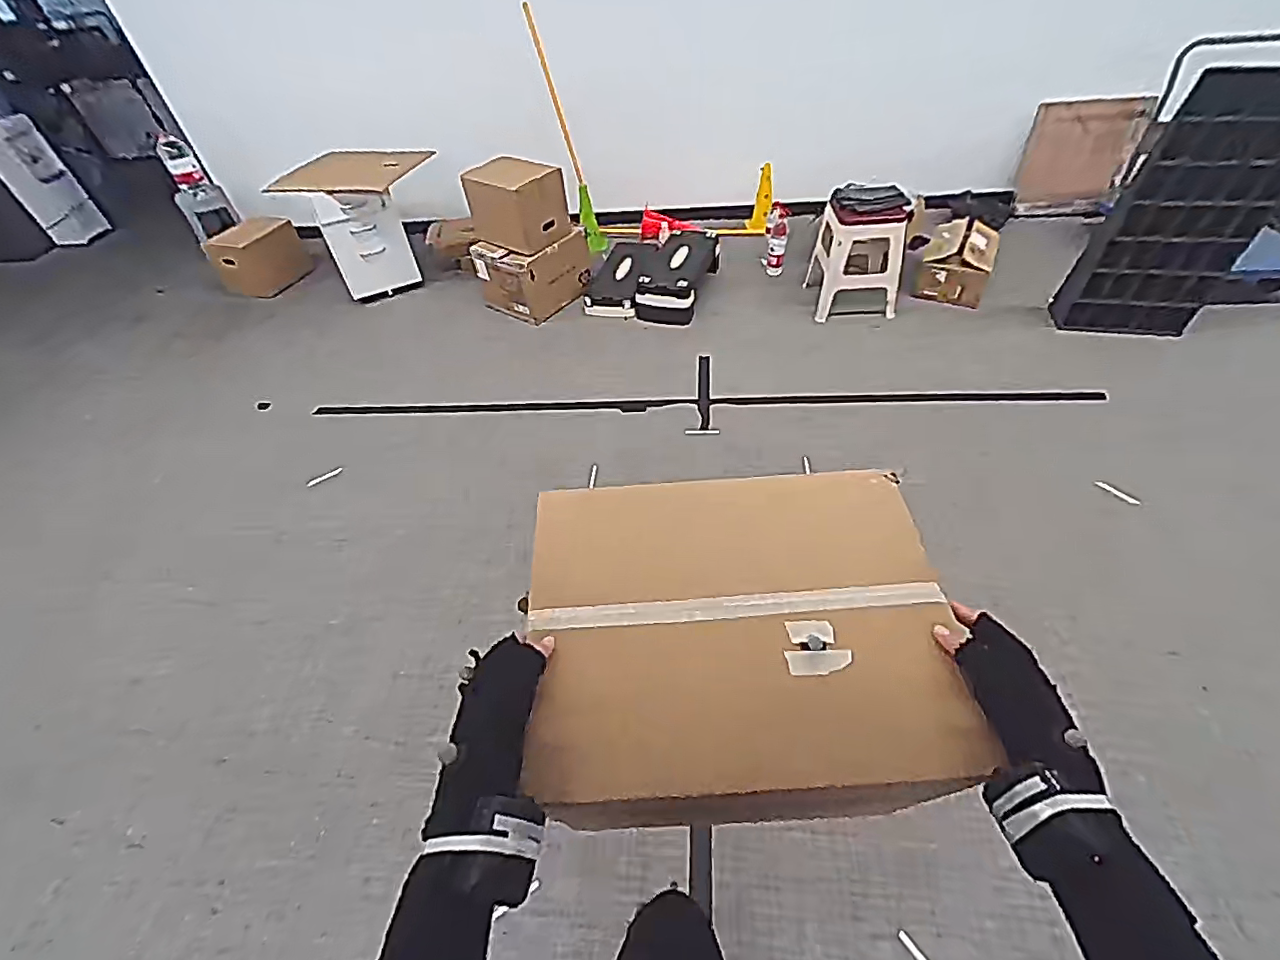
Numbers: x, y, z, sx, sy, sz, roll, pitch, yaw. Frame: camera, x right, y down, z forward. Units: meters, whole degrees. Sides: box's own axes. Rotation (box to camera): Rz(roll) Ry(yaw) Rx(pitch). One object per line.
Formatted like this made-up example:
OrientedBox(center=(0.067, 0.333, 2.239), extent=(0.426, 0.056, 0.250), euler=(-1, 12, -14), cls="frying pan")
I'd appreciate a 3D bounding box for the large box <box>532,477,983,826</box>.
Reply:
OrientedBox(center=(0.097, 0.222, 0.672), extent=(0.408, 0.320, 0.320), euler=(-4, 54, 0), cls="large box")
